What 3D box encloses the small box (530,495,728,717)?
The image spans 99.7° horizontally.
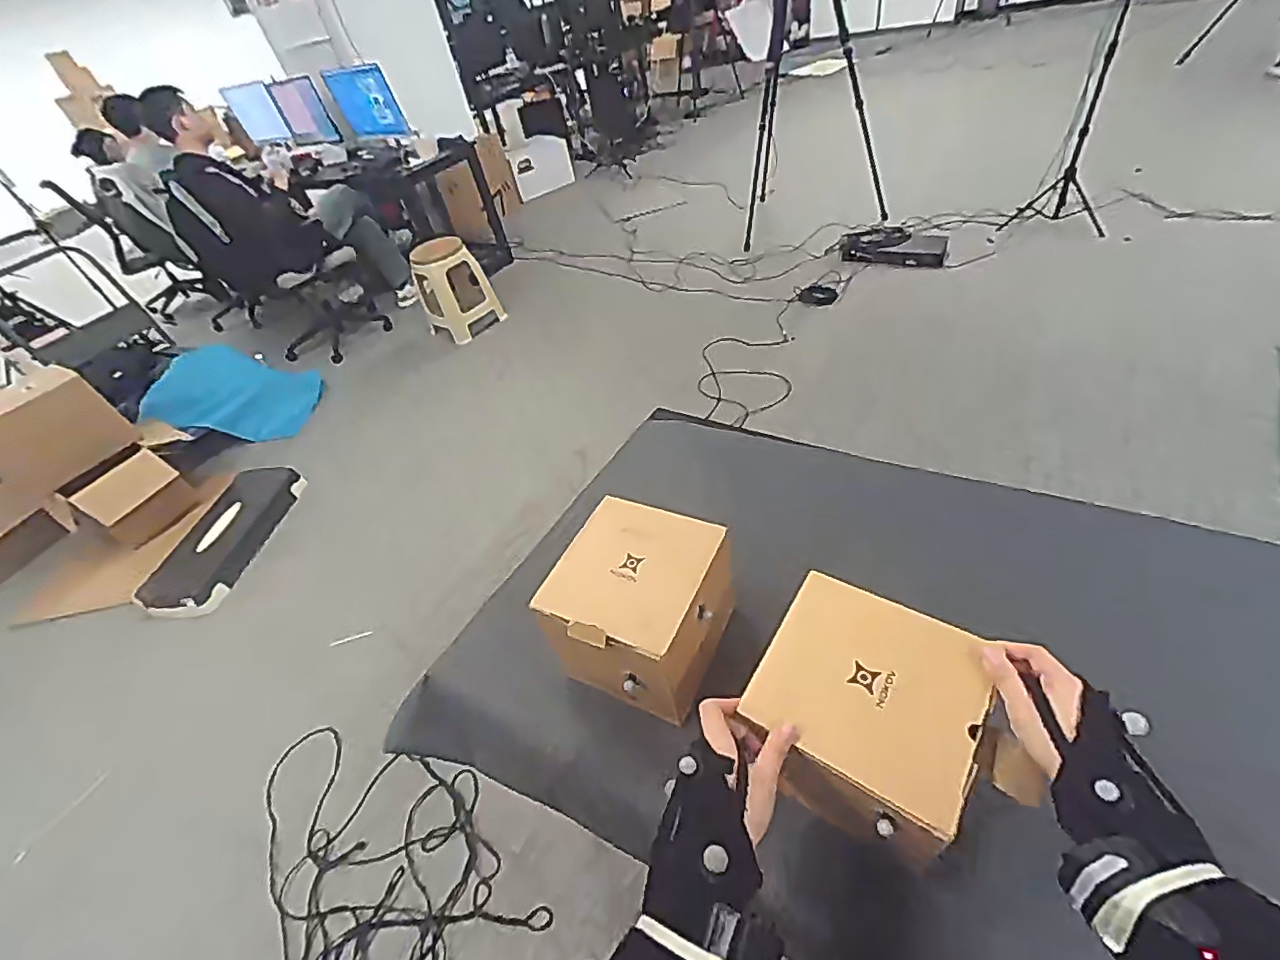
[{"bbox_3d":[0.002,0.151,0.652,0.168,0.176,0.179,14,49,26],"label":"small box"}]
